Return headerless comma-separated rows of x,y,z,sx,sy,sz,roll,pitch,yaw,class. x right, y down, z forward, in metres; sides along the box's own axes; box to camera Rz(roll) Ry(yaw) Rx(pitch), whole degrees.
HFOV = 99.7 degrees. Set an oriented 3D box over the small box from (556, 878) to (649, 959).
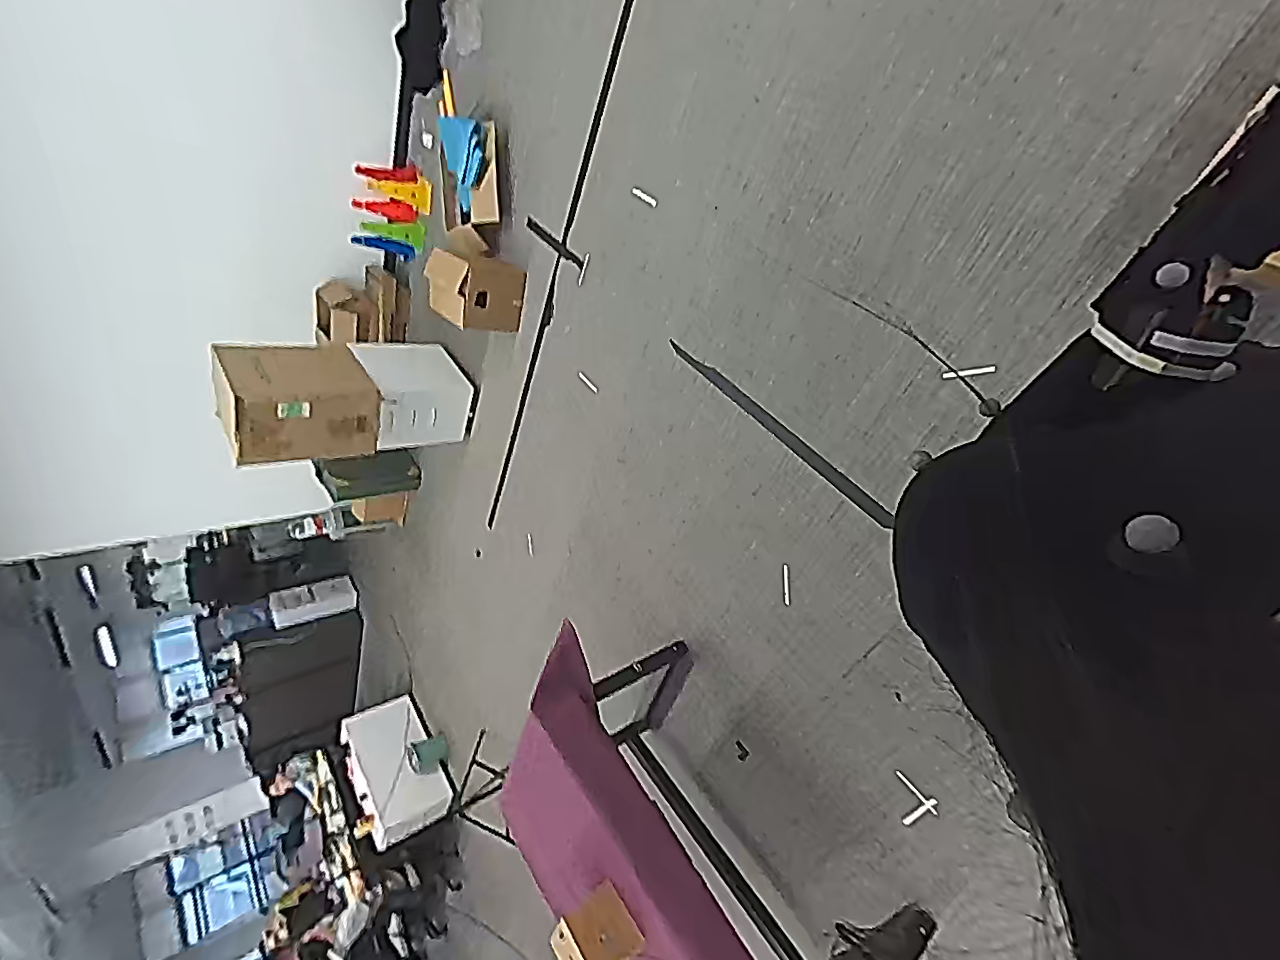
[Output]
-0.103,1.268,1.499,0.179,0.176,0.168,42,127,34,small box
